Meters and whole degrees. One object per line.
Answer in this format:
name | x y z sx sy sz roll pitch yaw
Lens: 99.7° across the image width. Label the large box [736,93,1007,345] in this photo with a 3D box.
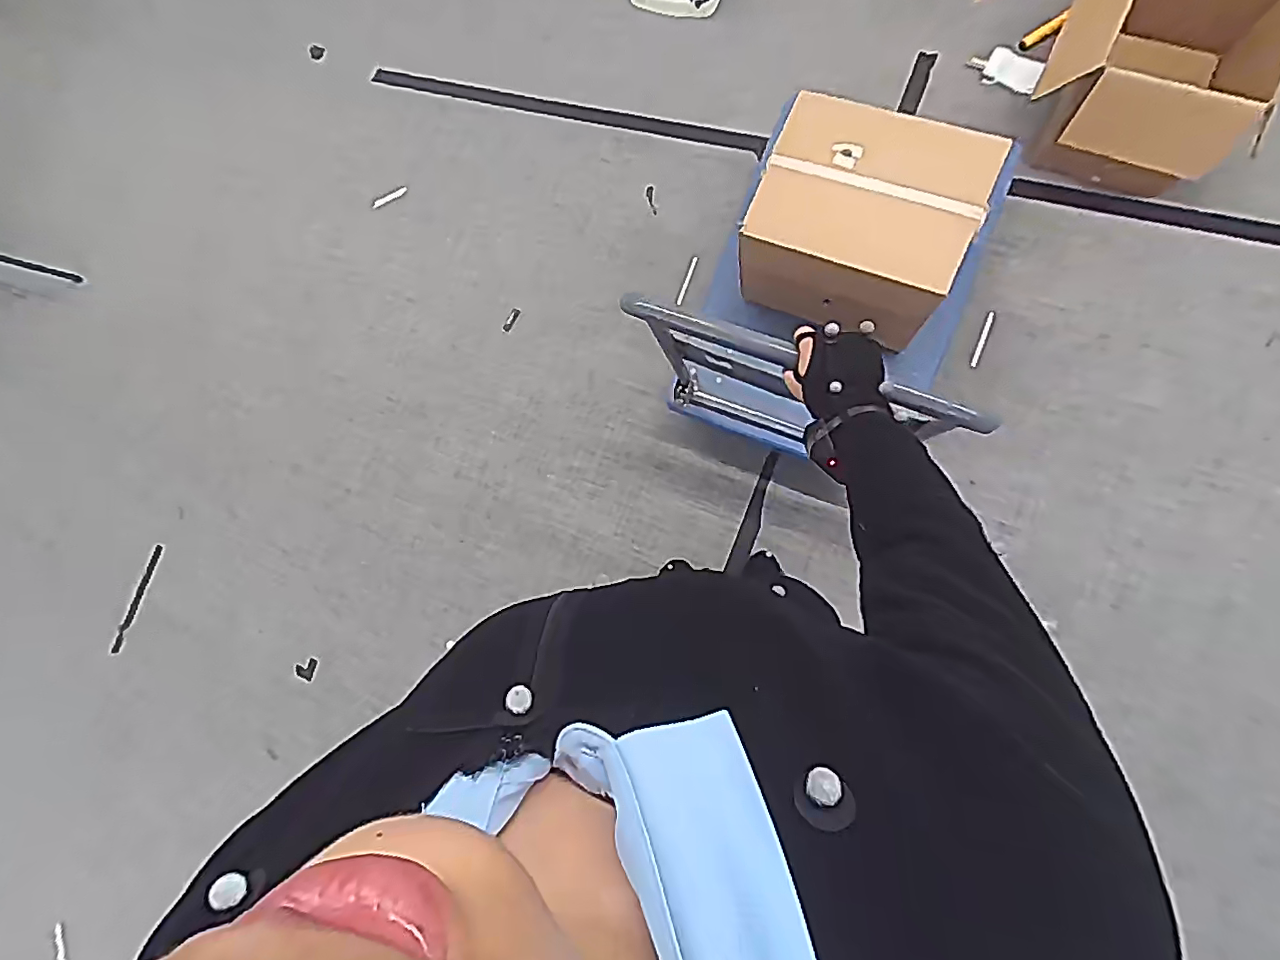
large box | 0.457 -0.532 1.154 0.408 0.320 0.320 23 88 14
